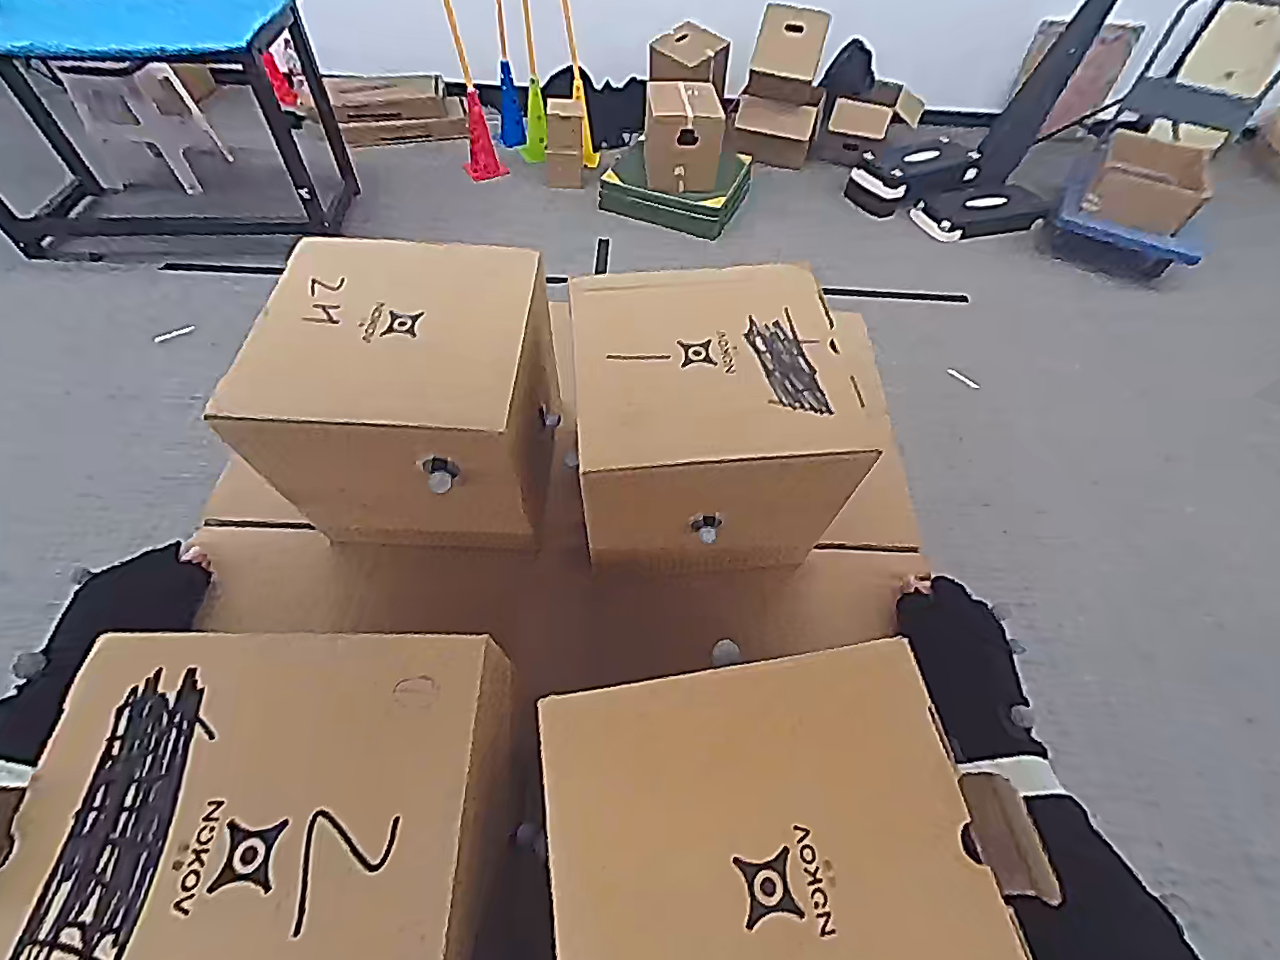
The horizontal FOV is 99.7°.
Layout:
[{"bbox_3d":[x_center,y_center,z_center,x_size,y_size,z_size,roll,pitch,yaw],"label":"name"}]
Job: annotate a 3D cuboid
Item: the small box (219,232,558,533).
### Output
[{"bbox_3d":[-0.165,-0.068,0.433,0.179,0.176,0.168,4,58,0],"label":"small box"}]
